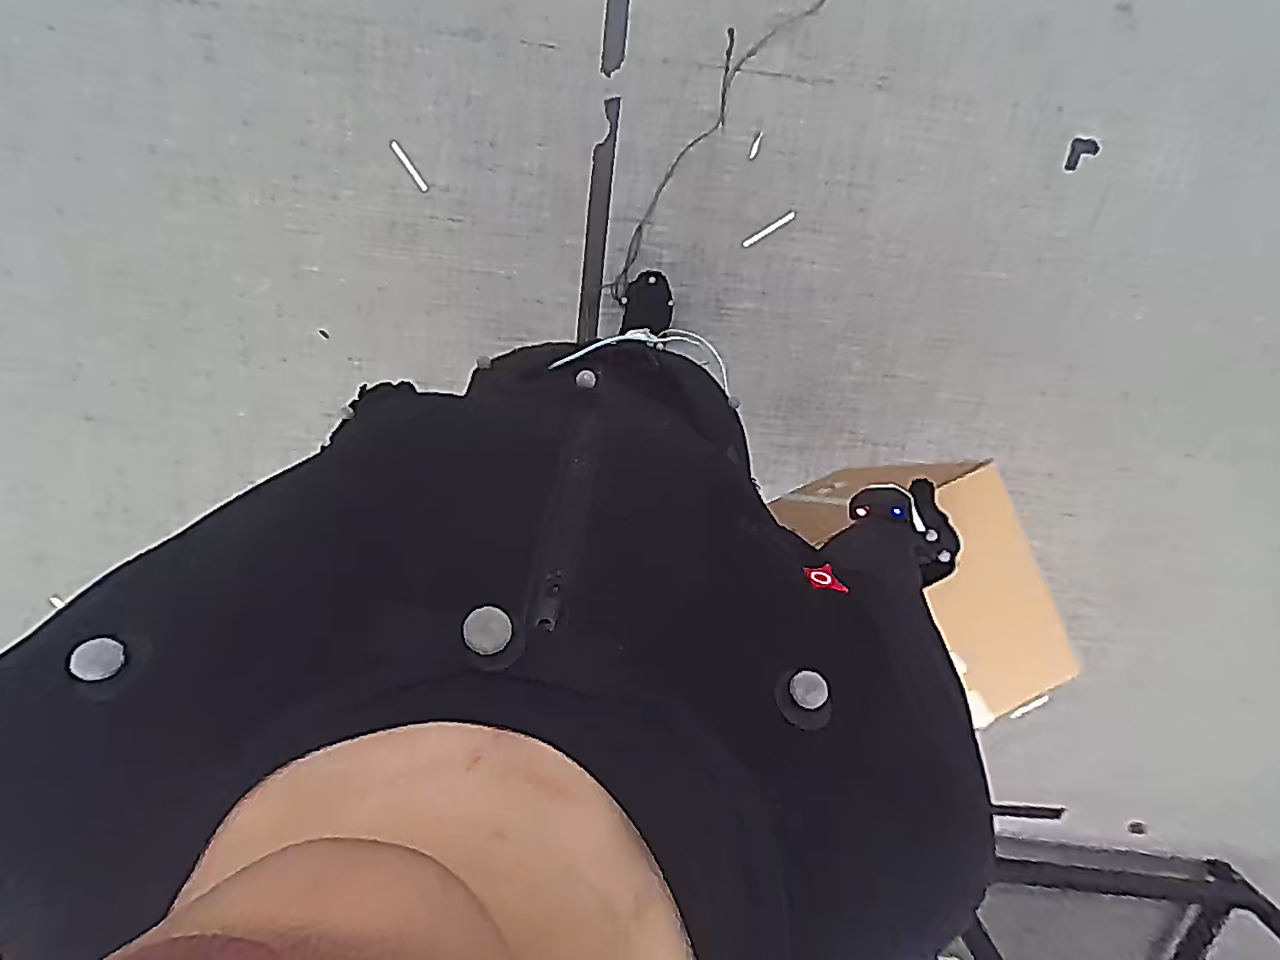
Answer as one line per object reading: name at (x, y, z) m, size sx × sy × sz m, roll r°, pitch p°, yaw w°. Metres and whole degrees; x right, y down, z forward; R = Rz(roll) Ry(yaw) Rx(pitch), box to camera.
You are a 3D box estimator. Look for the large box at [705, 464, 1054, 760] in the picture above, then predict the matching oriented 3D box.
large box at (0.351, 0.182, 0.907) m, size 0.320 × 0.408 × 0.320 m, roll -21°, pitch 91°, yaw -7°
